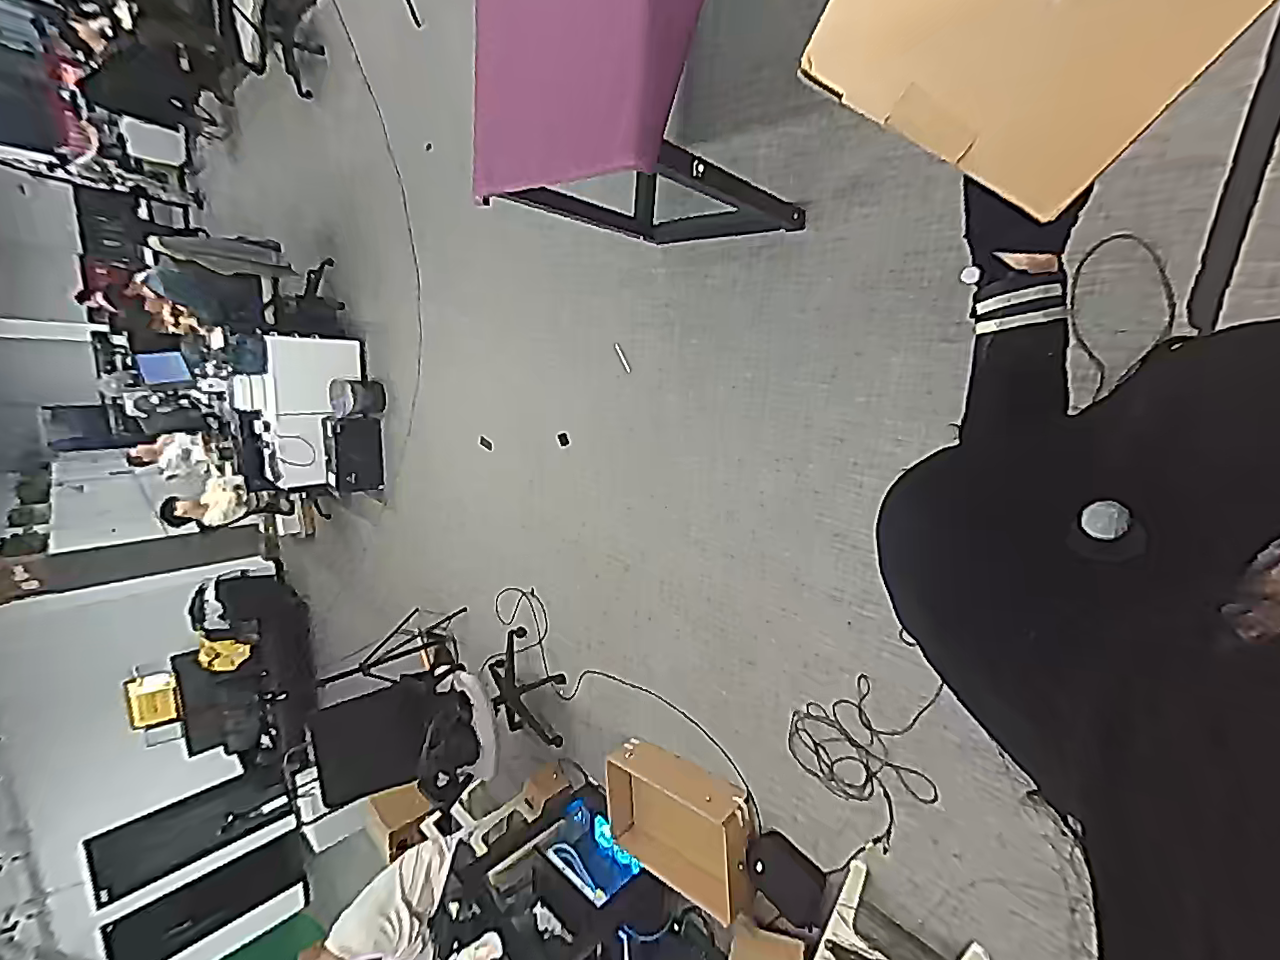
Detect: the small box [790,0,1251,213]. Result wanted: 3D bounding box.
[{"bbox_3d":[0.211,-0.279,0.275,0.168,0.179,0.176,36,142,5],"label":"small box"}]
